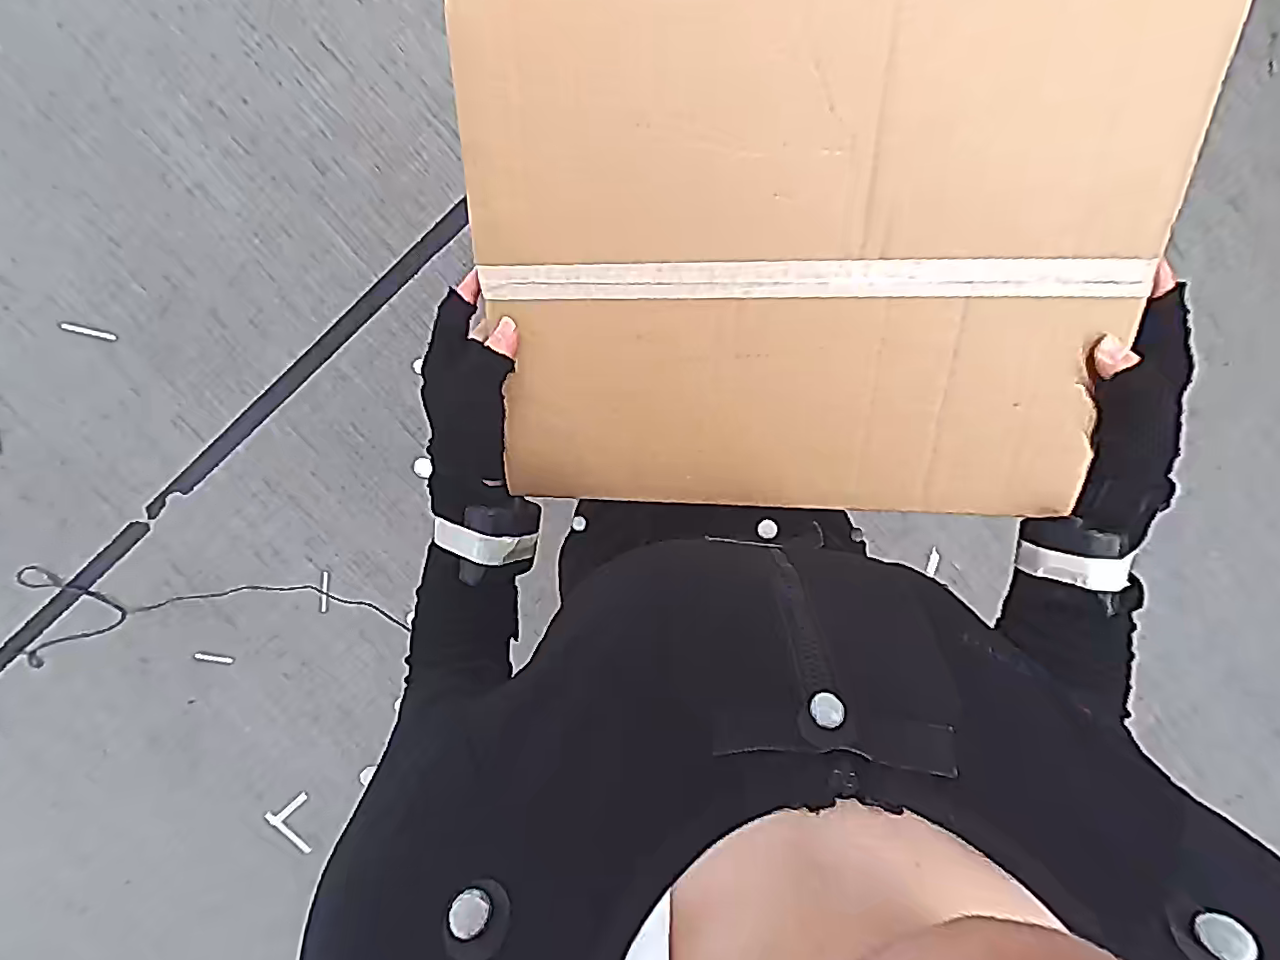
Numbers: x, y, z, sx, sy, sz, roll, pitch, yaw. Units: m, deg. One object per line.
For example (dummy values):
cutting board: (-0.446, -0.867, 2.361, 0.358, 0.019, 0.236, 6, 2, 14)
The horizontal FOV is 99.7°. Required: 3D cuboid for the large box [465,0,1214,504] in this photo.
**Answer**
large box: (0.112, -0.186, 0.486, 0.408, 0.320, 0.320, 2, 115, 6)
